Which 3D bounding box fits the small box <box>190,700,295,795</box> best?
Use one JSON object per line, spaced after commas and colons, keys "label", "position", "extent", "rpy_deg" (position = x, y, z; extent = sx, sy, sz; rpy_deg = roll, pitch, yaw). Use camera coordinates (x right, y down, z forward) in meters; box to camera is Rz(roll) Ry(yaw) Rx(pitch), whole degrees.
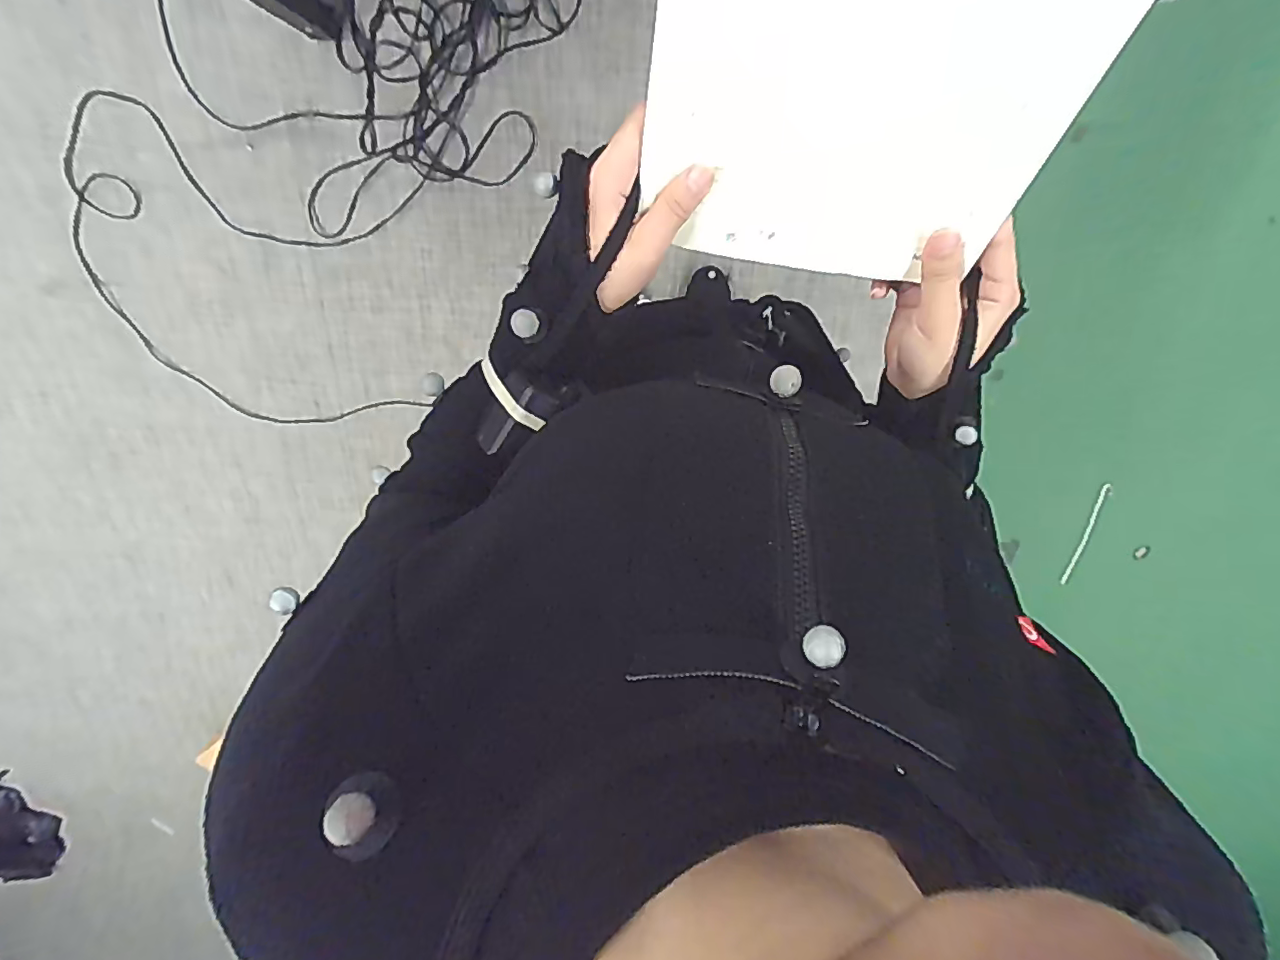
{"label": "small box", "position": [-1.233, 0.833, 1.694], "extent": [0.179, 0.176, 0.168], "rpy_deg": [-38, 109, 15]}
